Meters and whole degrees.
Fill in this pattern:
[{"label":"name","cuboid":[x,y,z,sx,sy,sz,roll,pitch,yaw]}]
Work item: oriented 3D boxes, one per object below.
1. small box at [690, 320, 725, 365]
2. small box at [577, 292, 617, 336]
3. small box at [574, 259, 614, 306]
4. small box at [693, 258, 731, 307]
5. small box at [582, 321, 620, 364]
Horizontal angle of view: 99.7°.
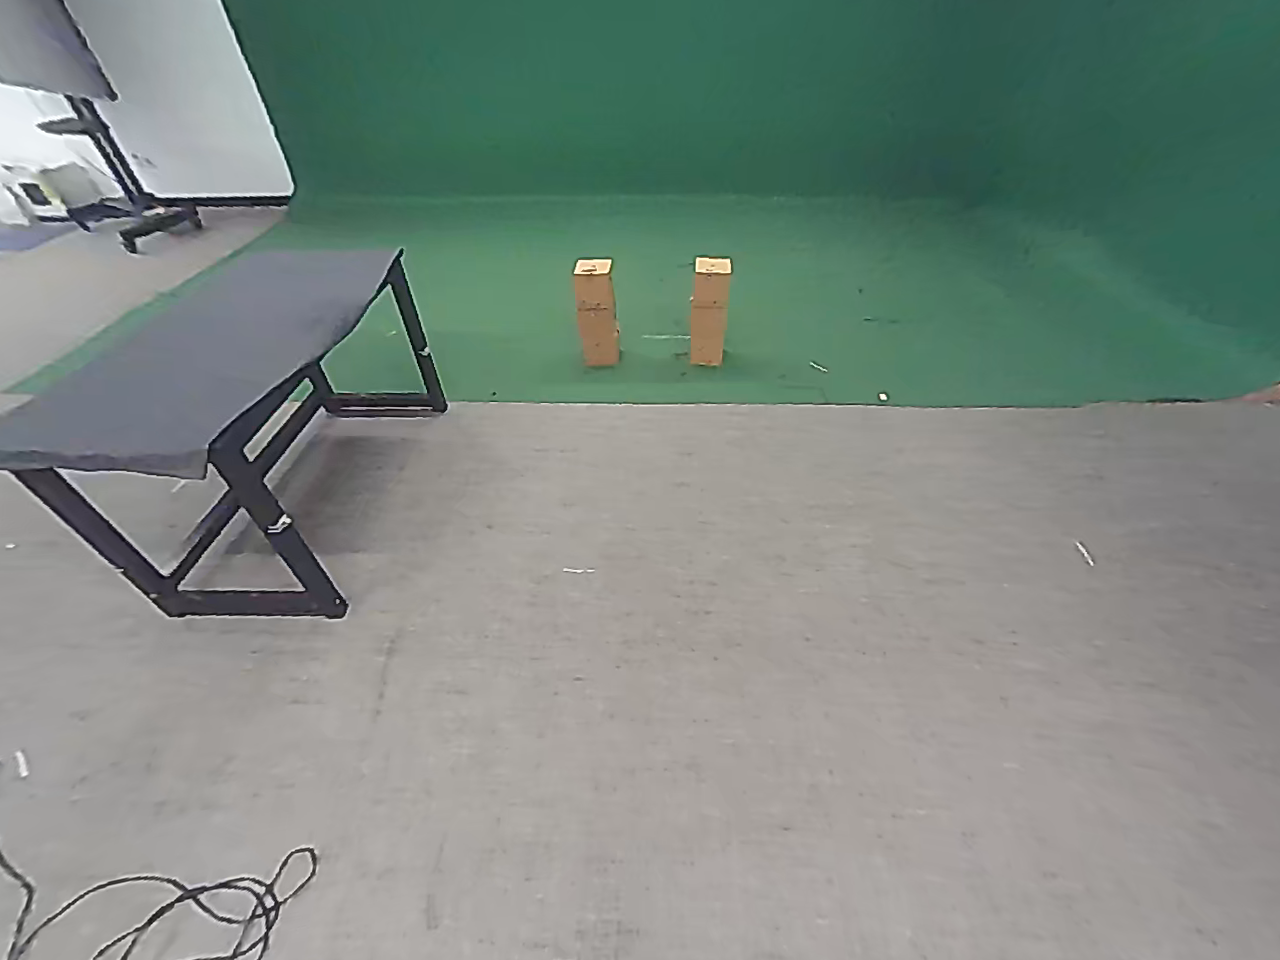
[{"label":"small box","cuboid":[0.354,-0.718,2.830,0.168,0.176,0.179,7,44,7]},{"label":"small box","cuboid":[-0.215,-0.839,2.727,0.179,0.176,0.168,2,45,3]},{"label":"small box","cuboid":[-0.217,-0.950,2.605,0.168,0.176,0.179,1,43,3]},{"label":"small box","cuboid":[0.344,-0.950,2.597,0.168,0.176,0.179,4,43,4]},{"label":"small box","cuboid":[-0.200,-0.722,2.839,0.179,0.176,0.168,1,44,2]}]
